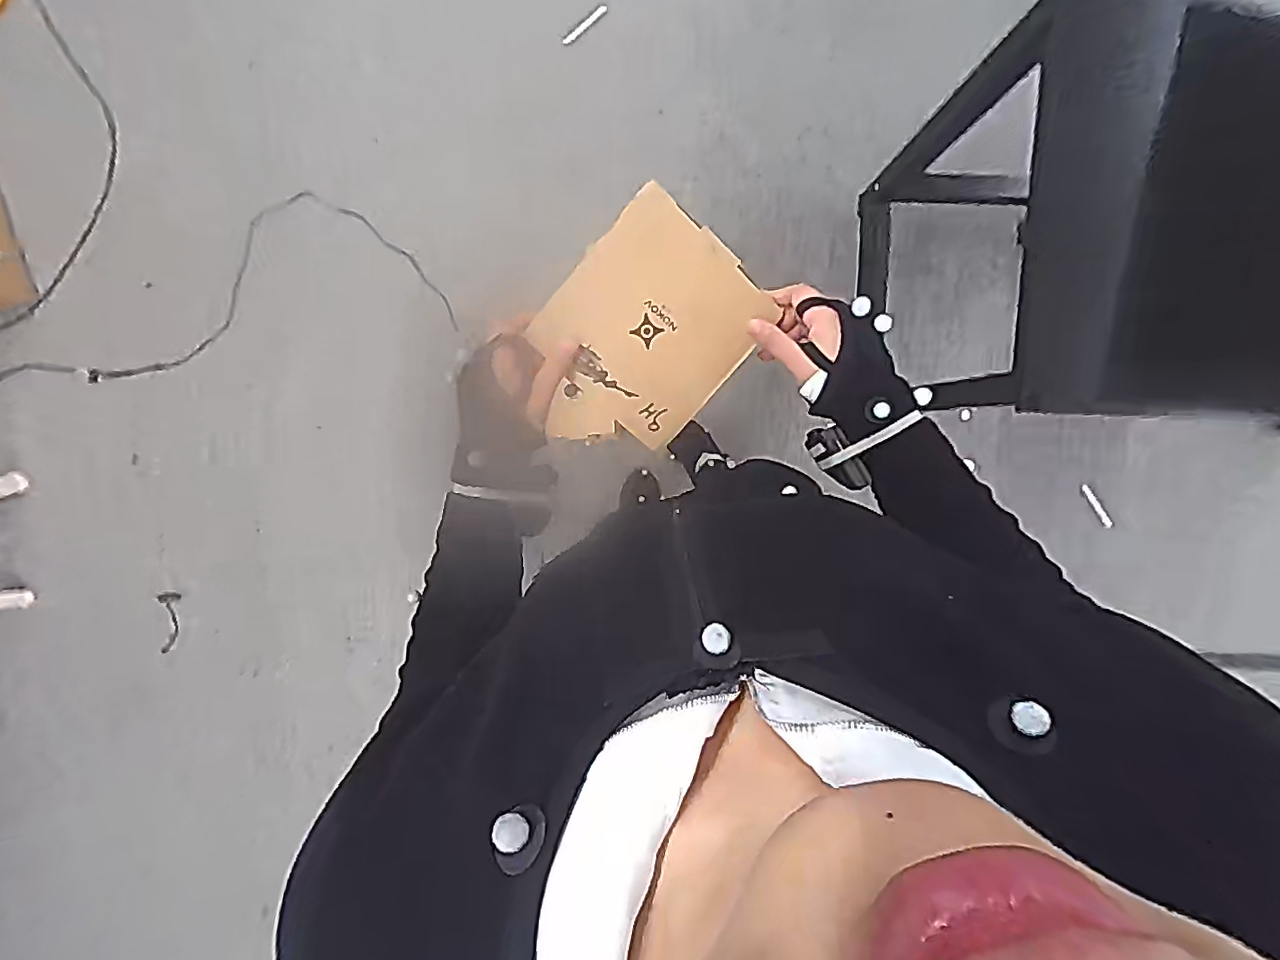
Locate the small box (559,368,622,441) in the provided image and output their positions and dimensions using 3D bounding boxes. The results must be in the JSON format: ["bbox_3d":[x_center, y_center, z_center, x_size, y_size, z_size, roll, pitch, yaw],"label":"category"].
[{"bbox_3d":[-0.134,-0.190,1.396,0.168,0.176,0.179,-2,96,1],"label":"small box"}]

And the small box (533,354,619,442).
[{"bbox_3d":[-0.140,-0.182,1.235,0.168,0.176,0.179,-6,93,1],"label":"small box"}]
